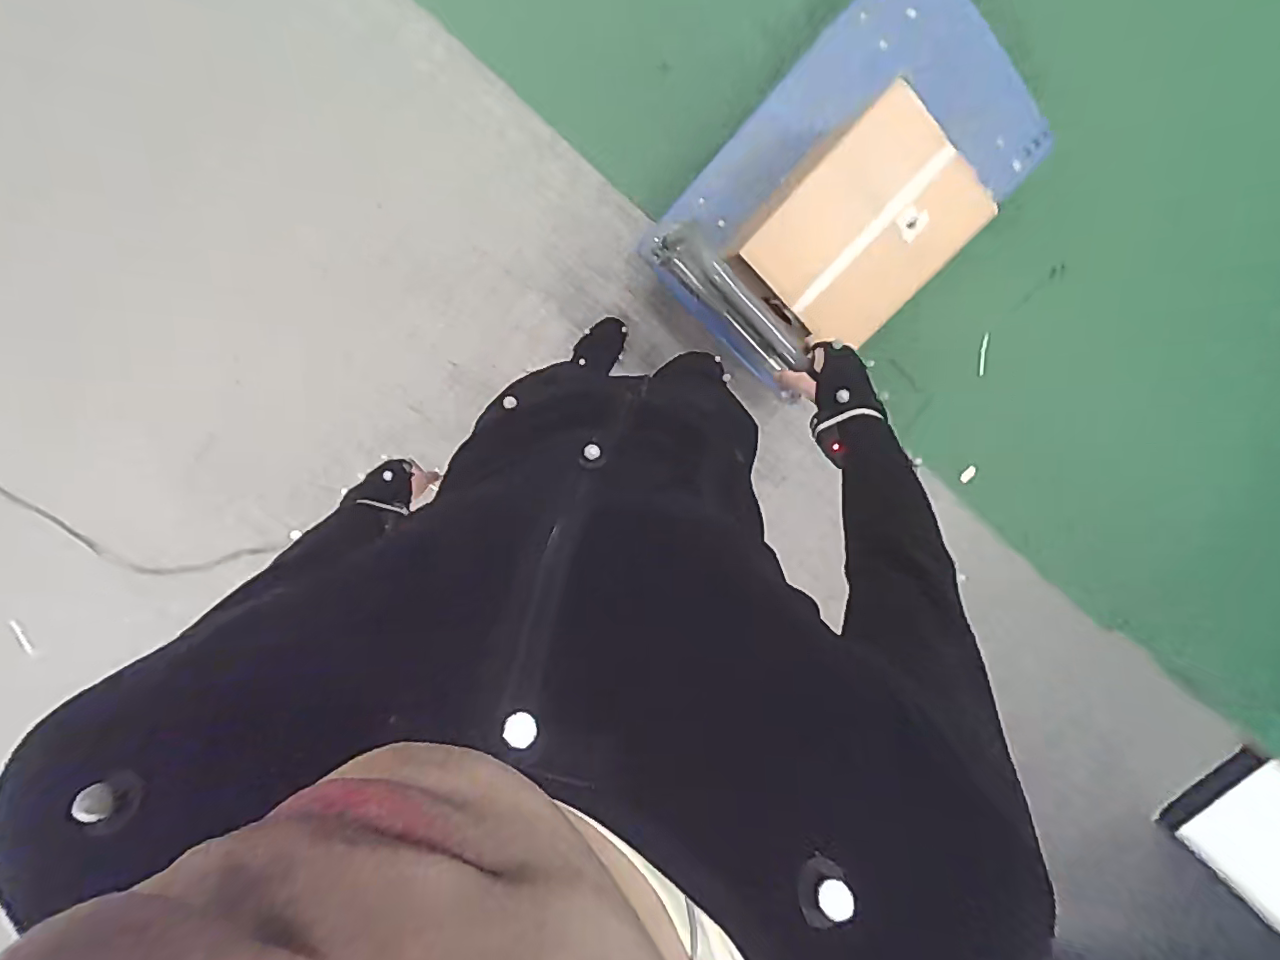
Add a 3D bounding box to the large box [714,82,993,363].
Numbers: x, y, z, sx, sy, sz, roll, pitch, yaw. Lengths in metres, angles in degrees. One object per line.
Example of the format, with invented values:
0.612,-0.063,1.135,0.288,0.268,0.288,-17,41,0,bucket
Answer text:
0.426,-0.517,1.175,0.320,0.320,0.408,42,101,-16,large box
